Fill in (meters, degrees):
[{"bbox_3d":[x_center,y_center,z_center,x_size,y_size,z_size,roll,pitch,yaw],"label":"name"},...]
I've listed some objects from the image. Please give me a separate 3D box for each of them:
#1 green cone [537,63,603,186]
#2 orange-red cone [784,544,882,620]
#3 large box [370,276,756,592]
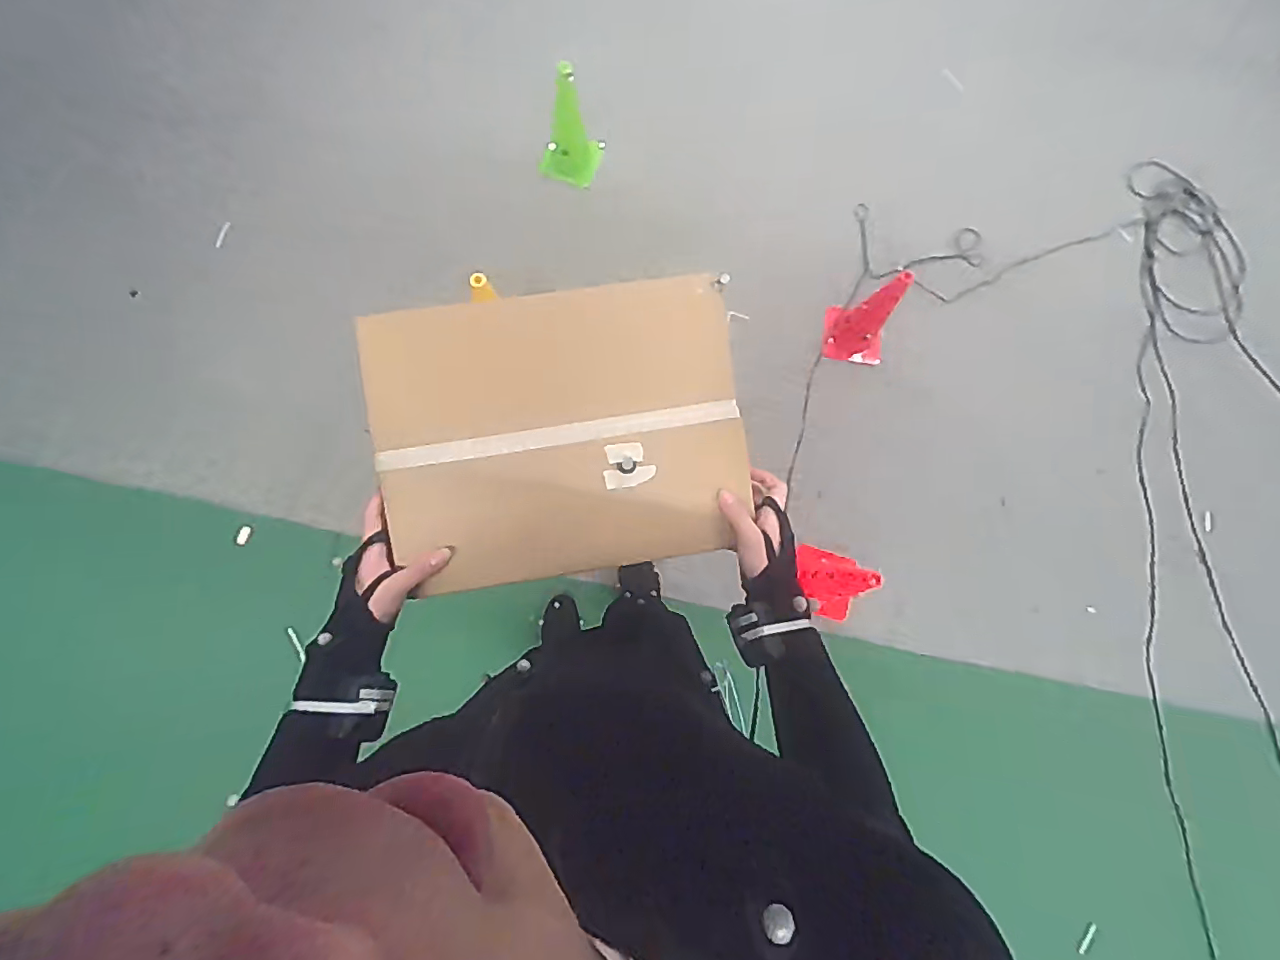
[{"bbox_3d":[-0.246,-1.206,1.795,0.200,0.368,0.202,18,79,1],"label":"green cone"},{"bbox_3d":[0.576,0.283,1.521,0.199,0.360,0.198,20,78,-1],"label":"orange-red cone"},{"bbox_3d":[-0.094,-0.055,0.759,0.408,0.320,0.320,-8,92,-5],"label":"large box"}]
